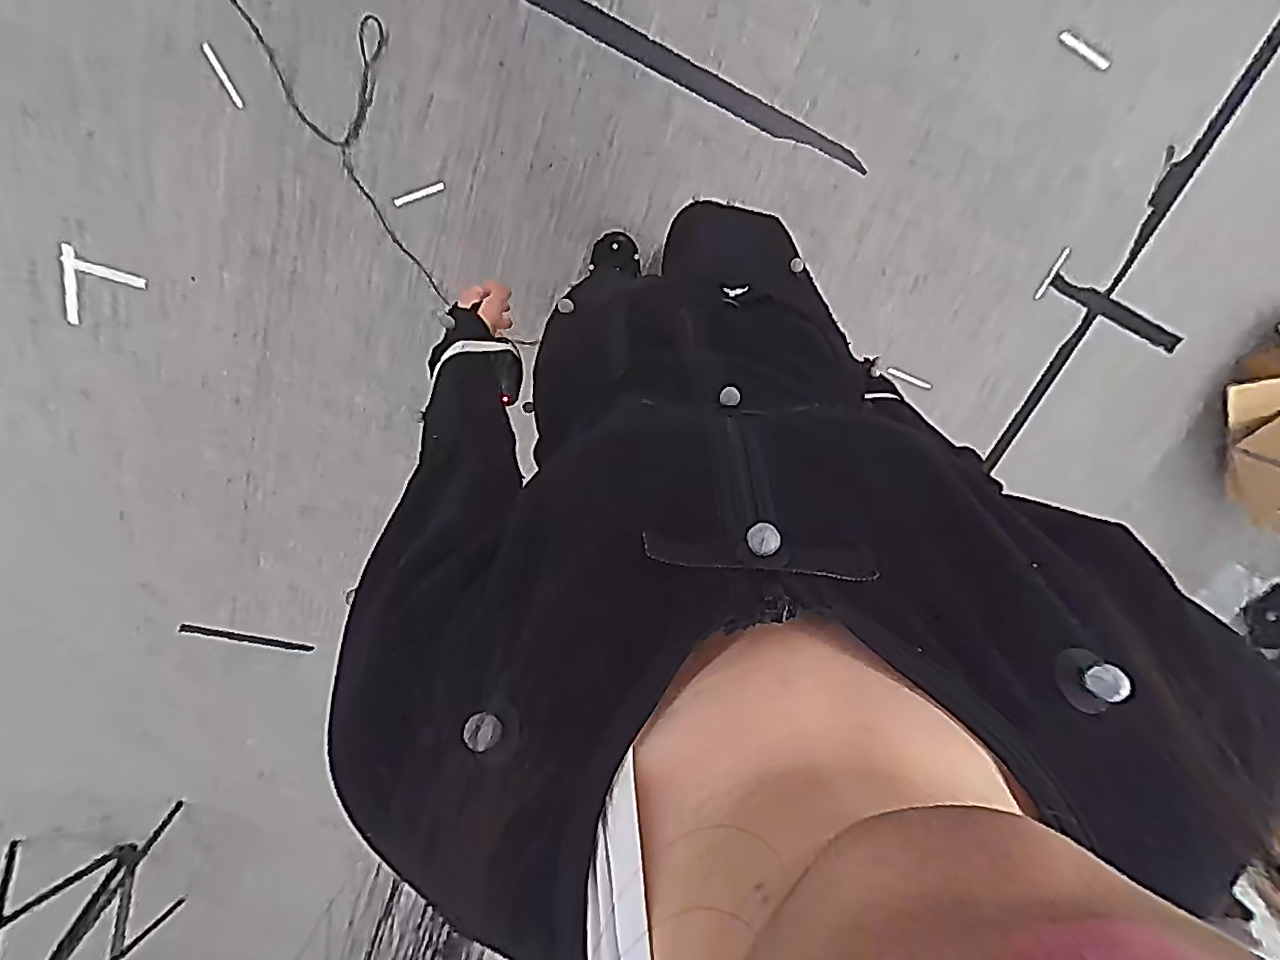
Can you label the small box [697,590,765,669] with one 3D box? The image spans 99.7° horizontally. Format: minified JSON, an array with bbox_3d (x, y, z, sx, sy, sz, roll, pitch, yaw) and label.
[{"bbox_3d":[0.294,0.483,1.779,0.168,0.176,0.179,-17,118,2],"label":"small box"}]
